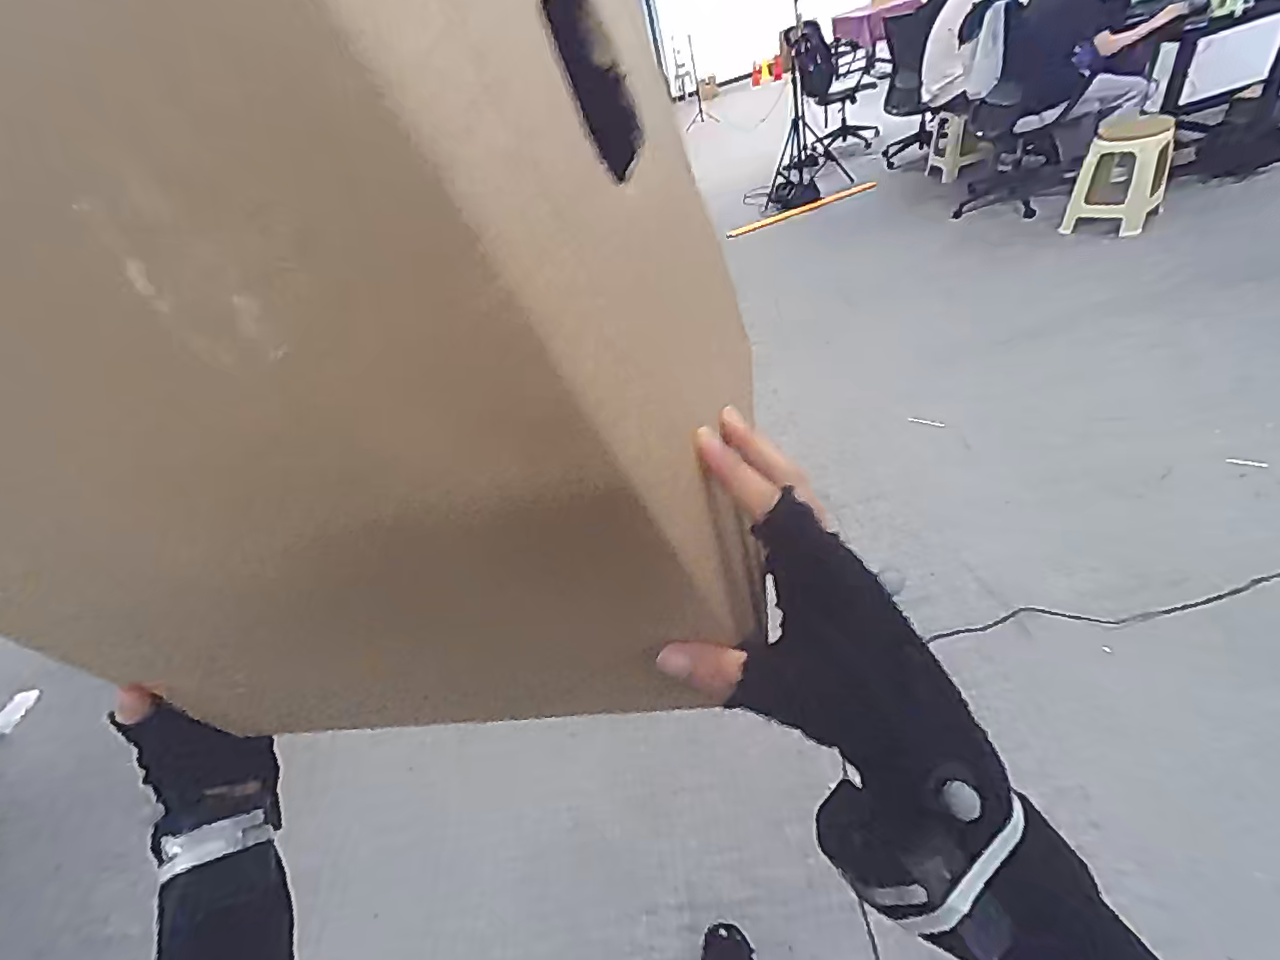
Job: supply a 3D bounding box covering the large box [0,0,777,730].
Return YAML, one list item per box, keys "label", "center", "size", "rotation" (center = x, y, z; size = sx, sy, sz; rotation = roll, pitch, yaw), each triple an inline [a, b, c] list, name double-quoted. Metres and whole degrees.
- label: "large box"
  center: [-0.153, -0.061, 0.352]
  size: [0.408, 0.320, 0.320]
  rotation: [-13, 42, 20]
